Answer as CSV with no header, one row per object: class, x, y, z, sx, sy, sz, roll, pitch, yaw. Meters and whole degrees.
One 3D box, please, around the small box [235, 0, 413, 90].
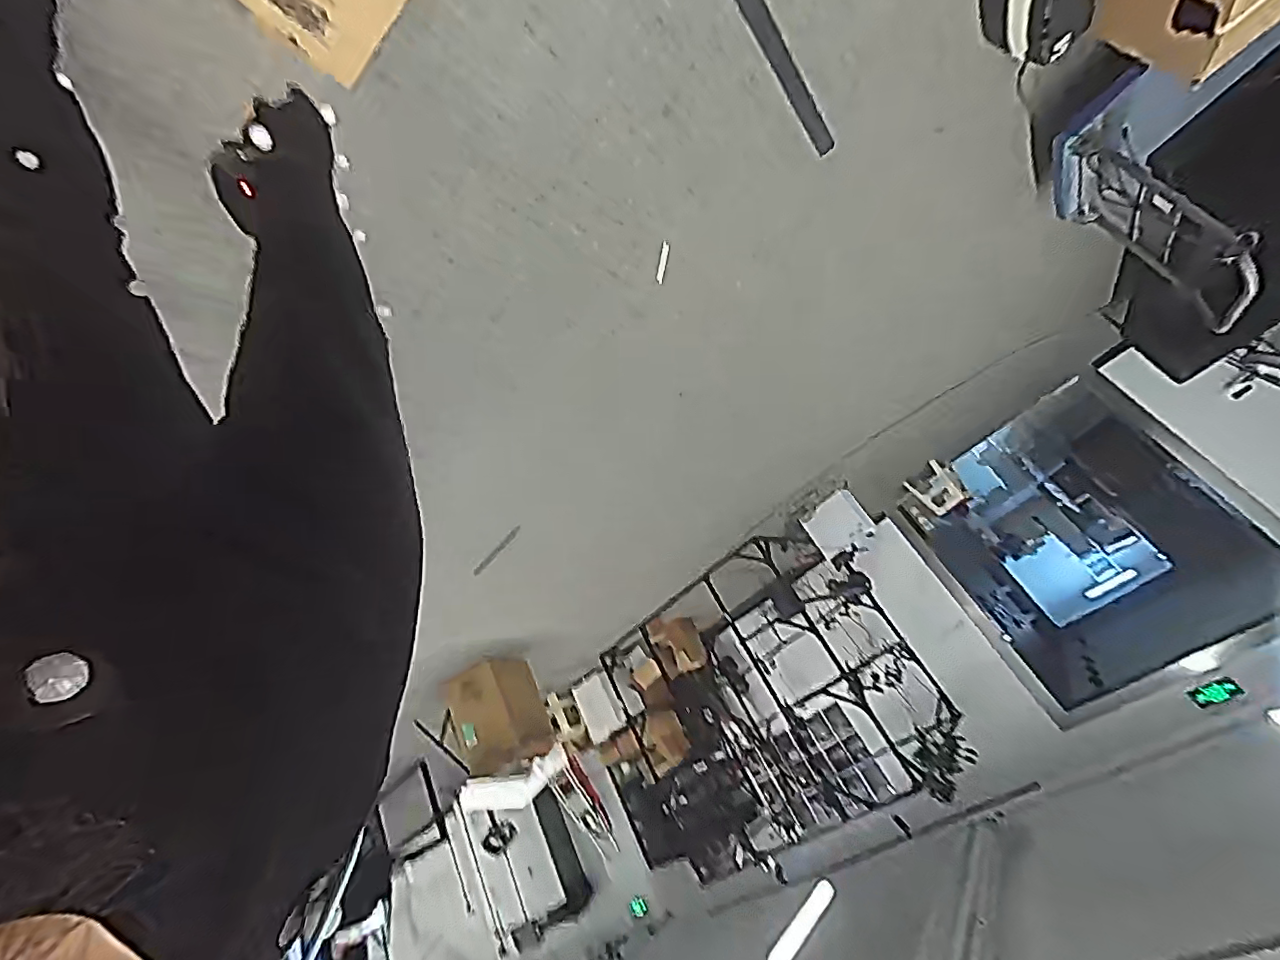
small box,-0.446,-0.702,0.741,0.179,0.176,0.168,-41,153,18
